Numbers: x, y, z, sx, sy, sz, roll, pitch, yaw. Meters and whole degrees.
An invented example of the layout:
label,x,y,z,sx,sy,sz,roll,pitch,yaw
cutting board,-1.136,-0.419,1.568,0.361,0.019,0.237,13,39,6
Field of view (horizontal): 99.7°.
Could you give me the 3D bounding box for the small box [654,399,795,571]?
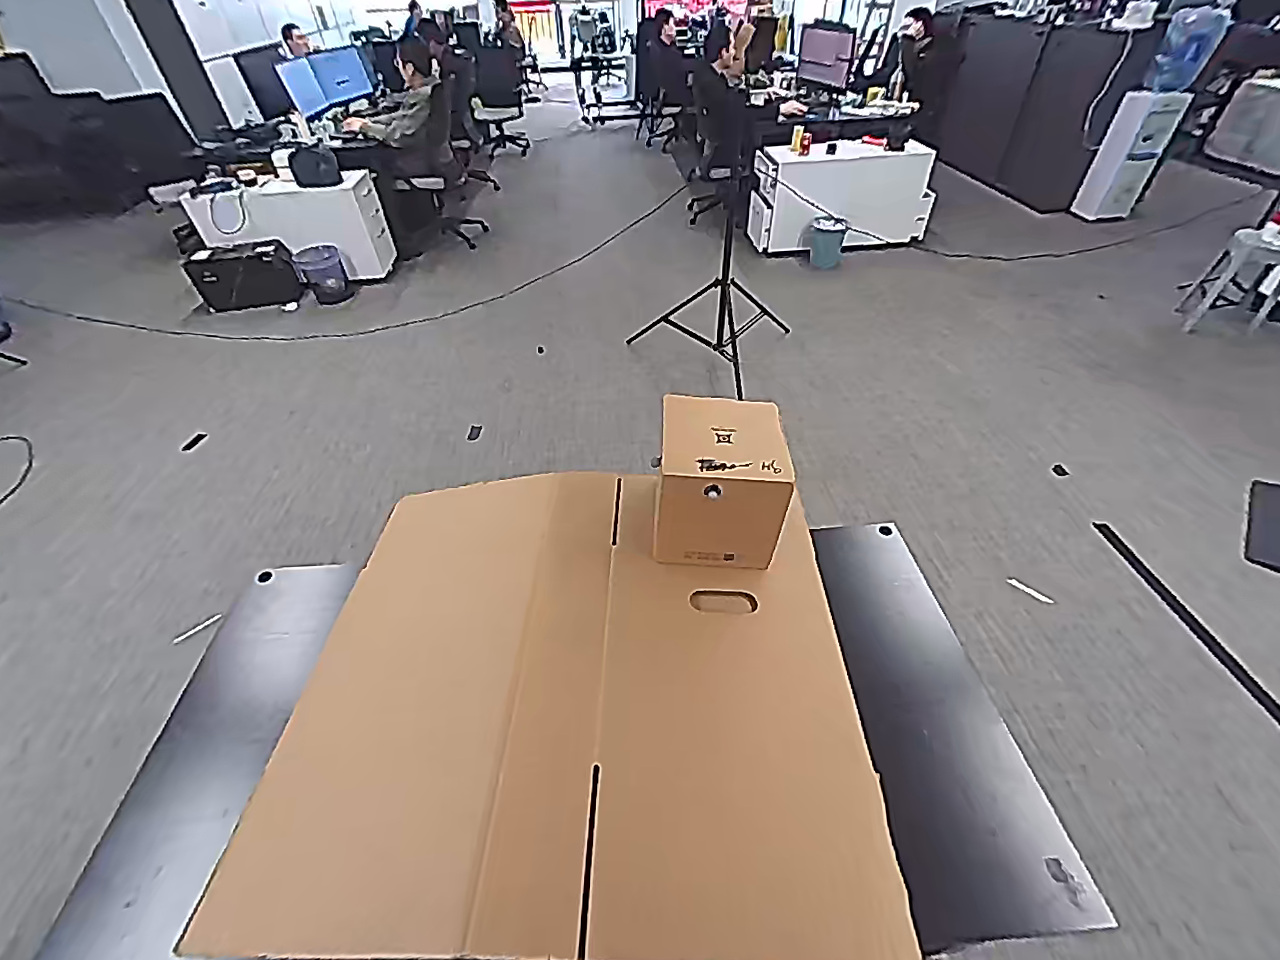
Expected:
label,x,y,z,sx,sy,sz,roll,pitch,yaw
small box,0.107,0.005,0.771,0.168,0.176,0.179,3,41,0
